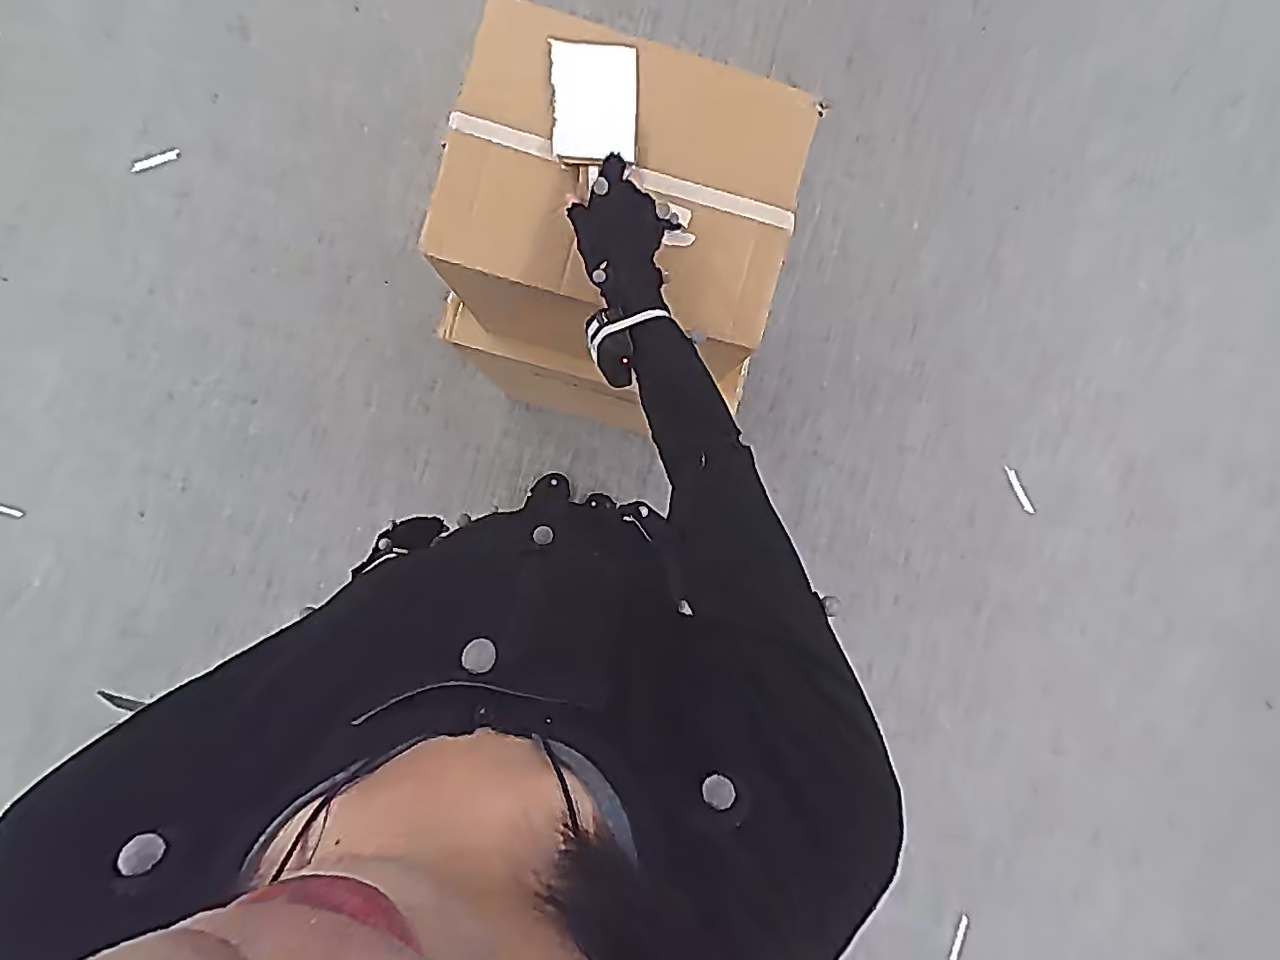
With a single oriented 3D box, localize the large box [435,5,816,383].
[{"bbox_3d":[-0.025,-0.363,0.789,0.408,0.320,0.320,15,89,-4],"label":"large box"}]
